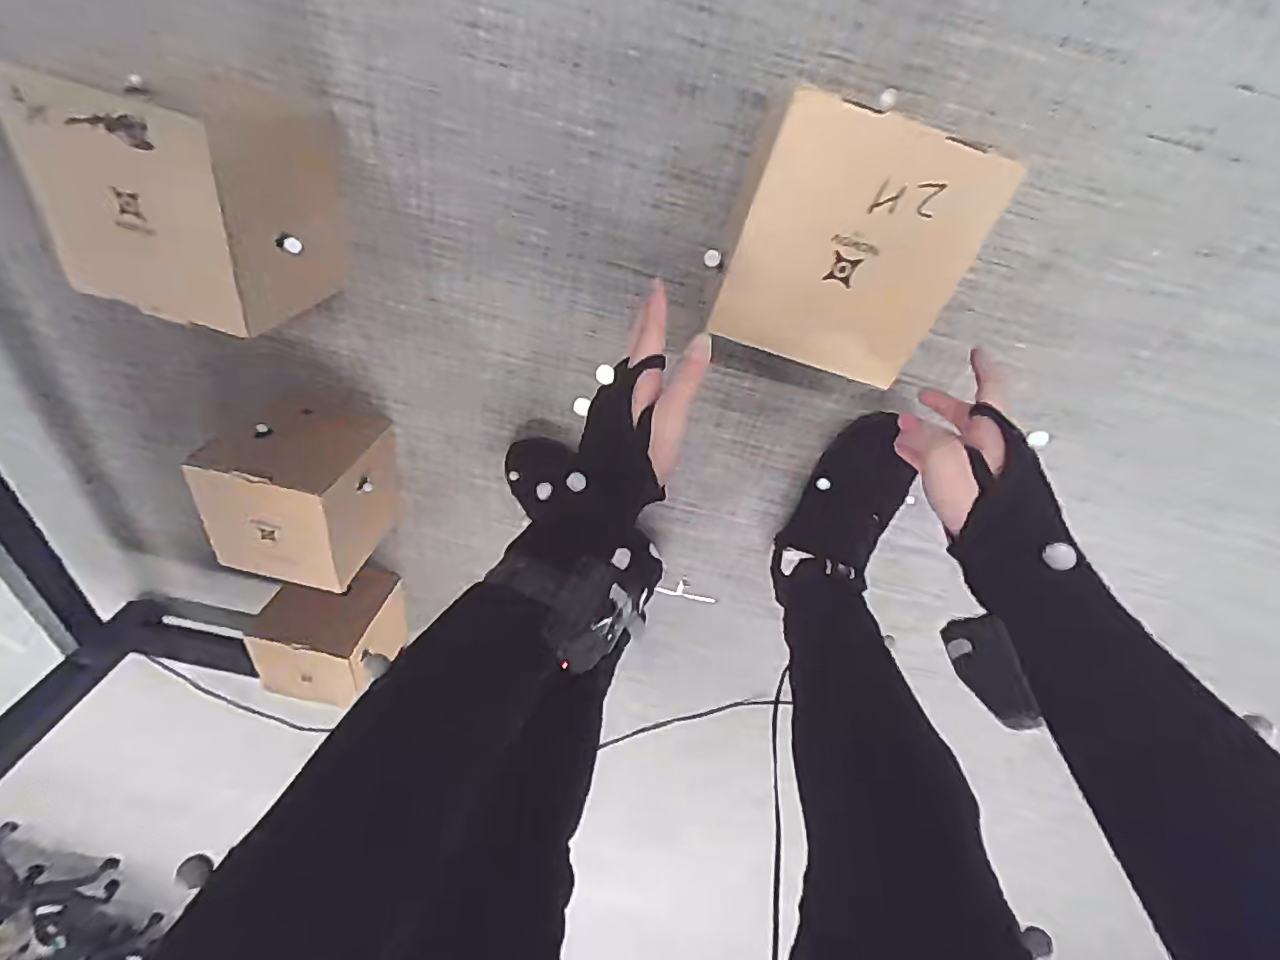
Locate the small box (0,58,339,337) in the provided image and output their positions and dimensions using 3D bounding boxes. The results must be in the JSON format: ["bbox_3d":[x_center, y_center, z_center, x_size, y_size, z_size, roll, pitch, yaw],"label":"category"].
[{"bbox_3d":[-0.411,-0.266,0.508,0.168,0.176,0.179,15,127,-3],"label":"small box"}]

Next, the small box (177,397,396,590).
[{"bbox_3d":[-0.447,0.013,0.721,0.168,0.176,0.179,14,128,-1],"label":"small box"}]

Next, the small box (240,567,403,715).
[{"bbox_3d":[-0.521,0.262,0.918,0.168,0.176,0.179,12,127,0],"label":"small box"}]
